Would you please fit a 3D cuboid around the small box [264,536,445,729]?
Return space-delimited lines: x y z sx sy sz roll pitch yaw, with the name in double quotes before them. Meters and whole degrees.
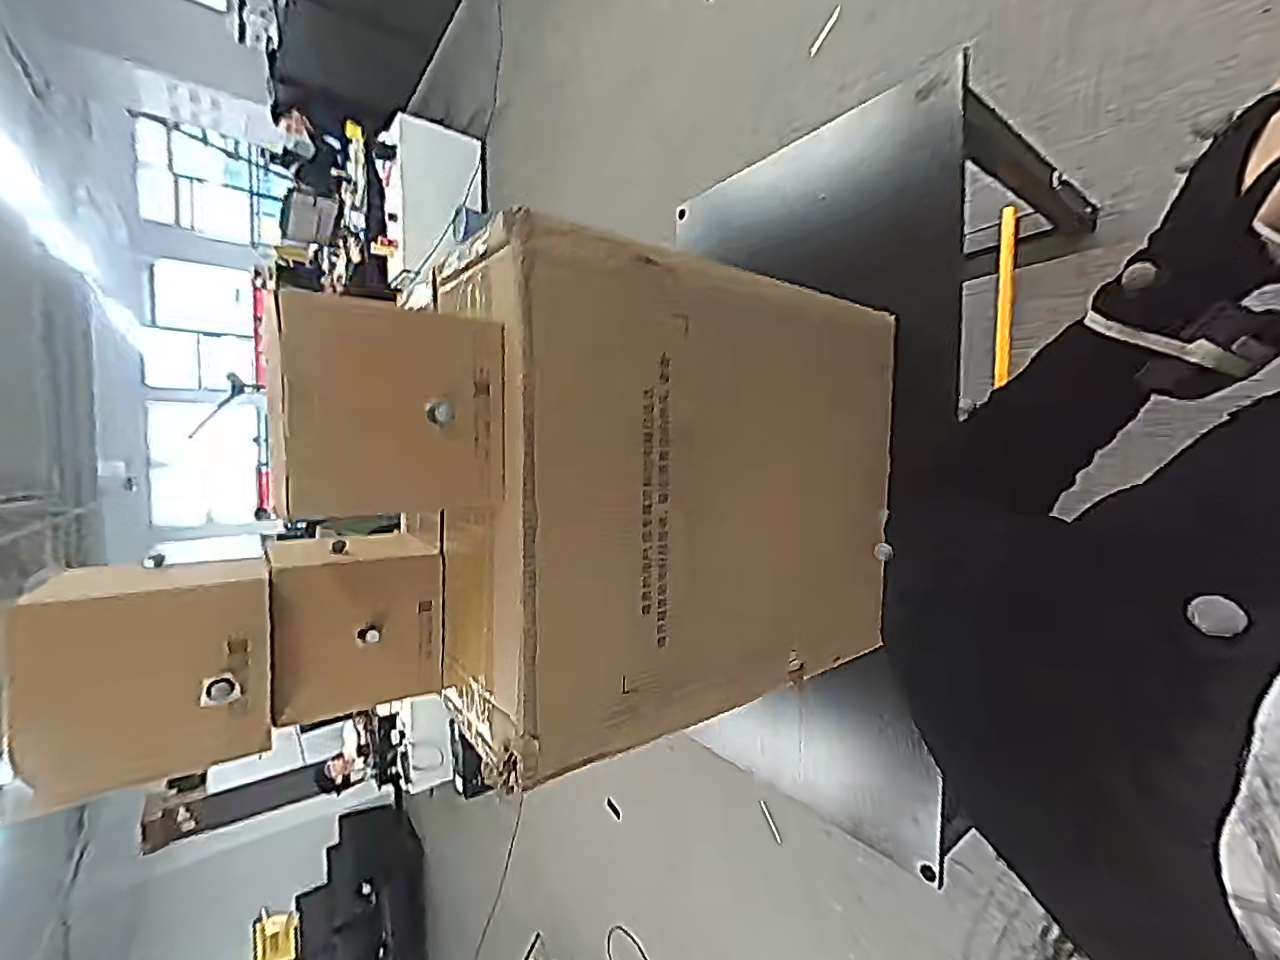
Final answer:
"small box" -0.341 0.162 0.648 0.179 0.176 0.168 5 95 53

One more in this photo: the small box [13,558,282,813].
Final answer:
"small box" -0.453 0.172 0.524 0.179 0.176 0.168 0 92 53

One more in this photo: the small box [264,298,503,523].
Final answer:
"small box" -0.239 -0.061 0.502 0.179 0.176 0.168 9 101 52
